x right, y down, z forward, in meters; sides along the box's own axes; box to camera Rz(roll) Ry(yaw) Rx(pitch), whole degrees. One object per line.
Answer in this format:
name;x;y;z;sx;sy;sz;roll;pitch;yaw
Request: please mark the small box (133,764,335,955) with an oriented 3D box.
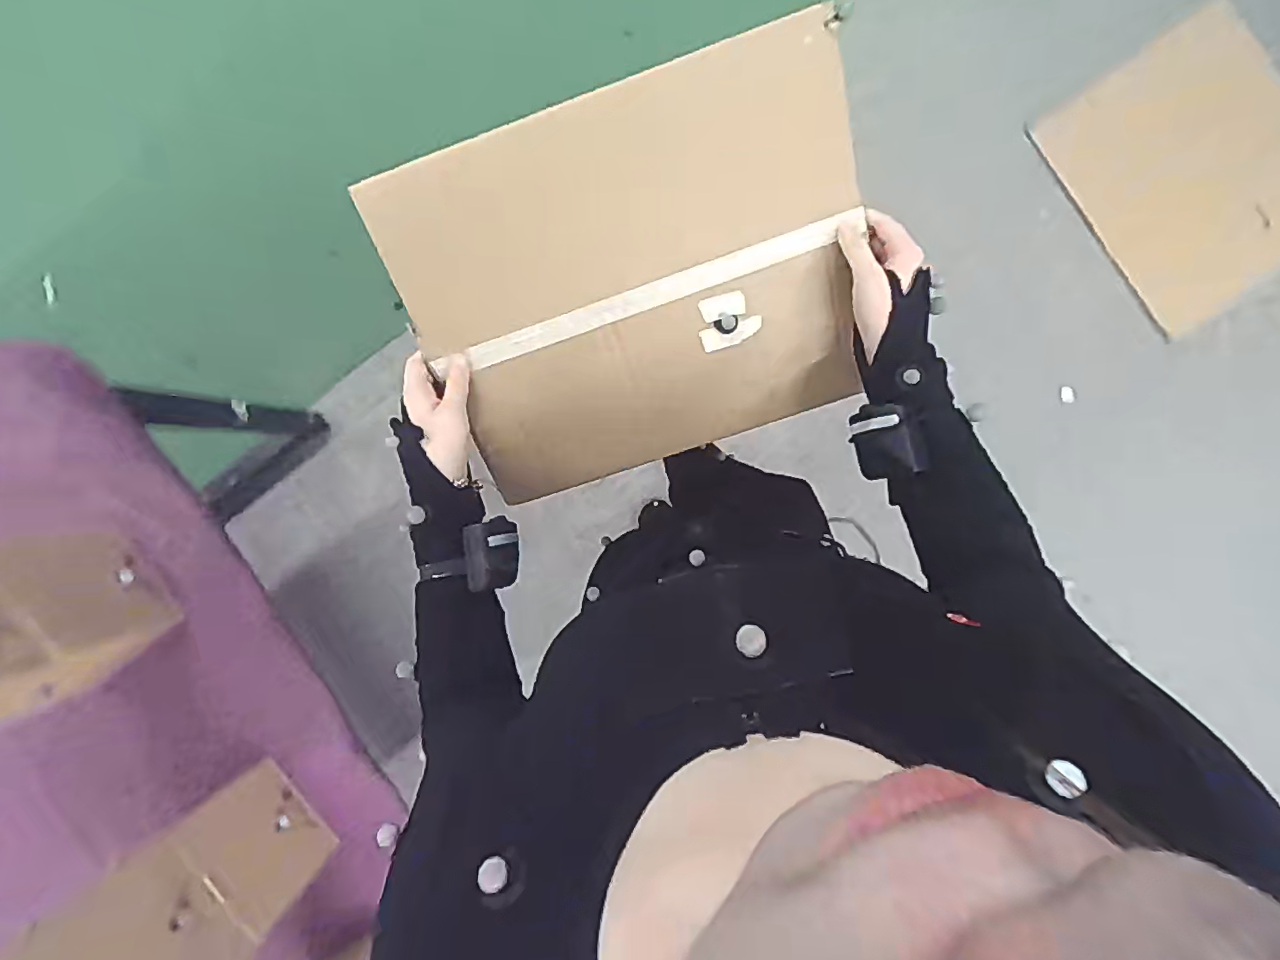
small box;-0.545;0.518;0.697;0.179;0.176;0.168;-39;92;2
